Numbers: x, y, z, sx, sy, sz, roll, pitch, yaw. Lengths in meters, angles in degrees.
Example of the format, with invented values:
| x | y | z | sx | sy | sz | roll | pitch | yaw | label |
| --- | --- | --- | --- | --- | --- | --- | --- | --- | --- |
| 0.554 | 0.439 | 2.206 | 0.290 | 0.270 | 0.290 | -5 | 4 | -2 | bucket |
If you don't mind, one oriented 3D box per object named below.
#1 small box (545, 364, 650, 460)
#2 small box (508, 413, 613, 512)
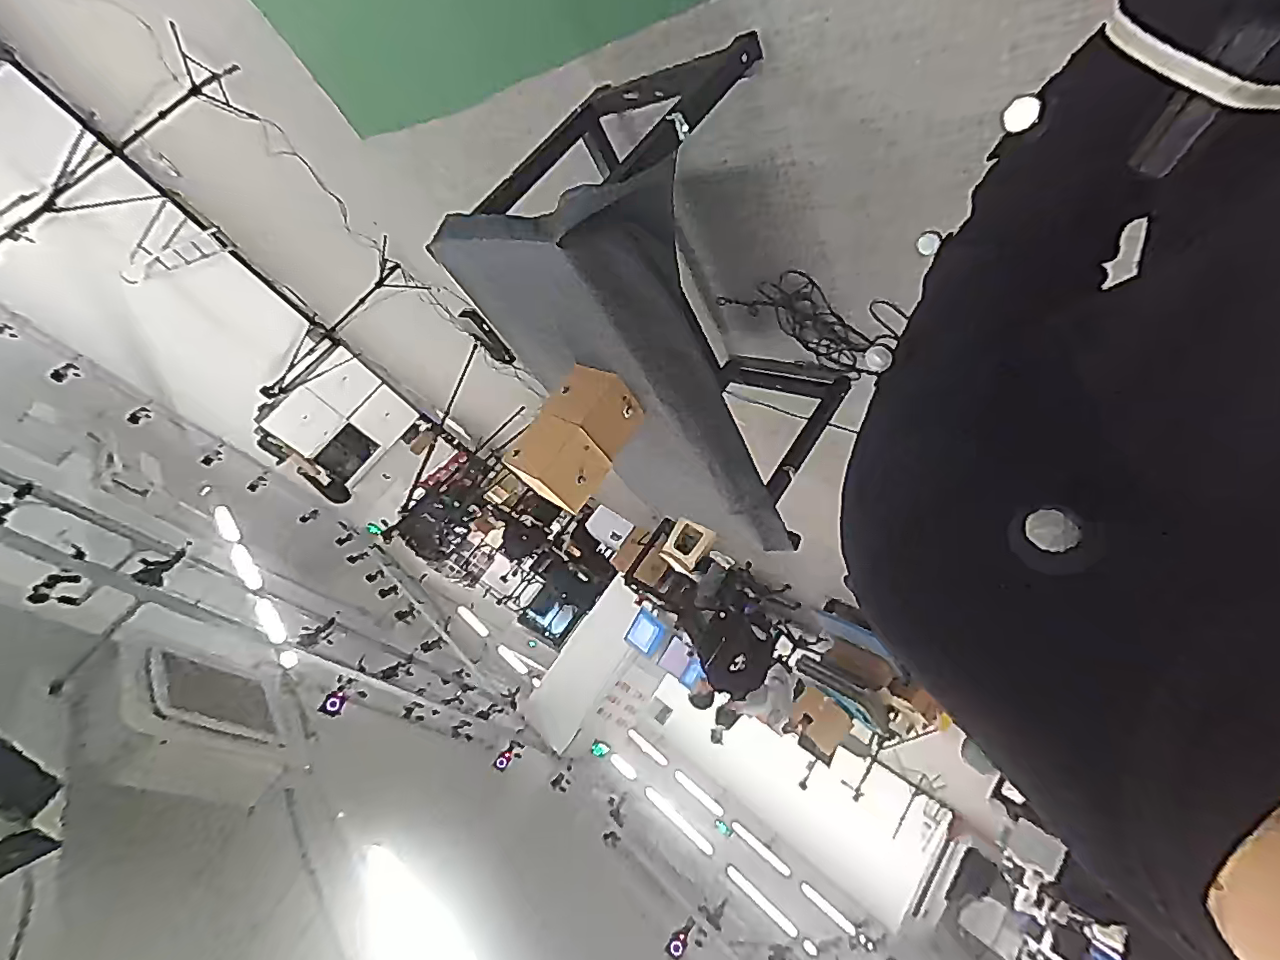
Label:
| x | y | z | sx | sy | sz | roll | pitch | yaw | label |
| --- | --- | --- | --- | --- | --- | --- | --- | --- | --- |
| -0.107 | -0.182 | 1.416 | 0.179 | 0.176 | 0.168 | 22 | 161 | 42 | small box |
| -0.192 | -0.050 | 1.375 | 0.179 | 0.176 | 0.168 | 24 | 163 | 44 | small box |
